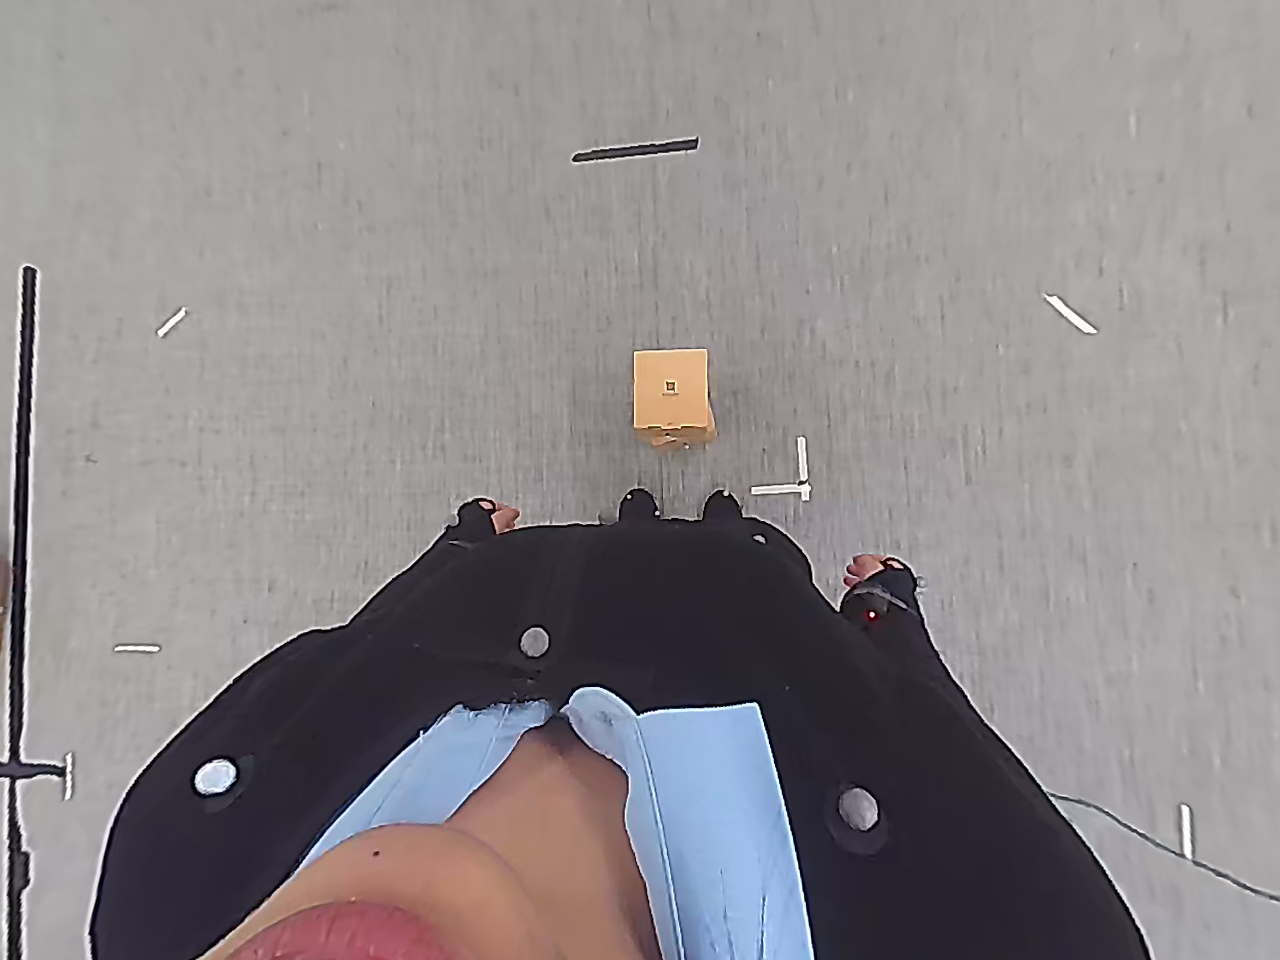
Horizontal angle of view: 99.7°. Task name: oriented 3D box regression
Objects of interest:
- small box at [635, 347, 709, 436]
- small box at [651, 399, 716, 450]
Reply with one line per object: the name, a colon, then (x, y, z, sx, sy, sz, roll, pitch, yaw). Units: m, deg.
small box: (0.076, -0.200, 1.265, 0.168, 0.176, 0.179, -1, 88, 6)
small box: (0.099, -0.187, 1.426, 0.168, 0.176, 0.179, -13, 87, 6)
